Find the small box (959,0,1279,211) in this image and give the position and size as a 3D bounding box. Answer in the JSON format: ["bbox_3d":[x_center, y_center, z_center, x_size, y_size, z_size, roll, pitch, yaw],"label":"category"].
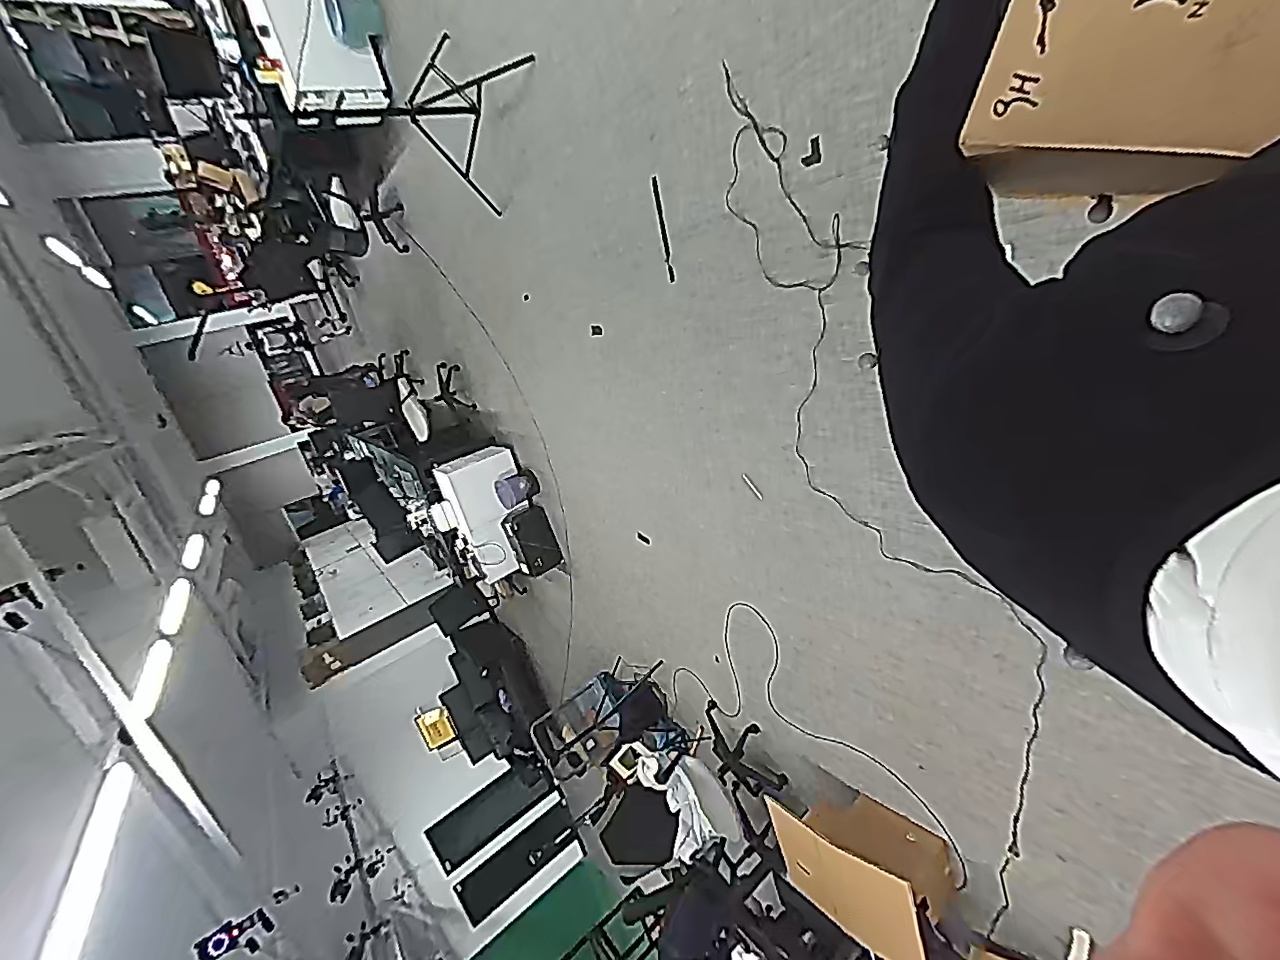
[{"bbox_3d":[0.352,-0.290,0.361,0.179,0.176,0.168,27,116,32],"label":"small box"}]
